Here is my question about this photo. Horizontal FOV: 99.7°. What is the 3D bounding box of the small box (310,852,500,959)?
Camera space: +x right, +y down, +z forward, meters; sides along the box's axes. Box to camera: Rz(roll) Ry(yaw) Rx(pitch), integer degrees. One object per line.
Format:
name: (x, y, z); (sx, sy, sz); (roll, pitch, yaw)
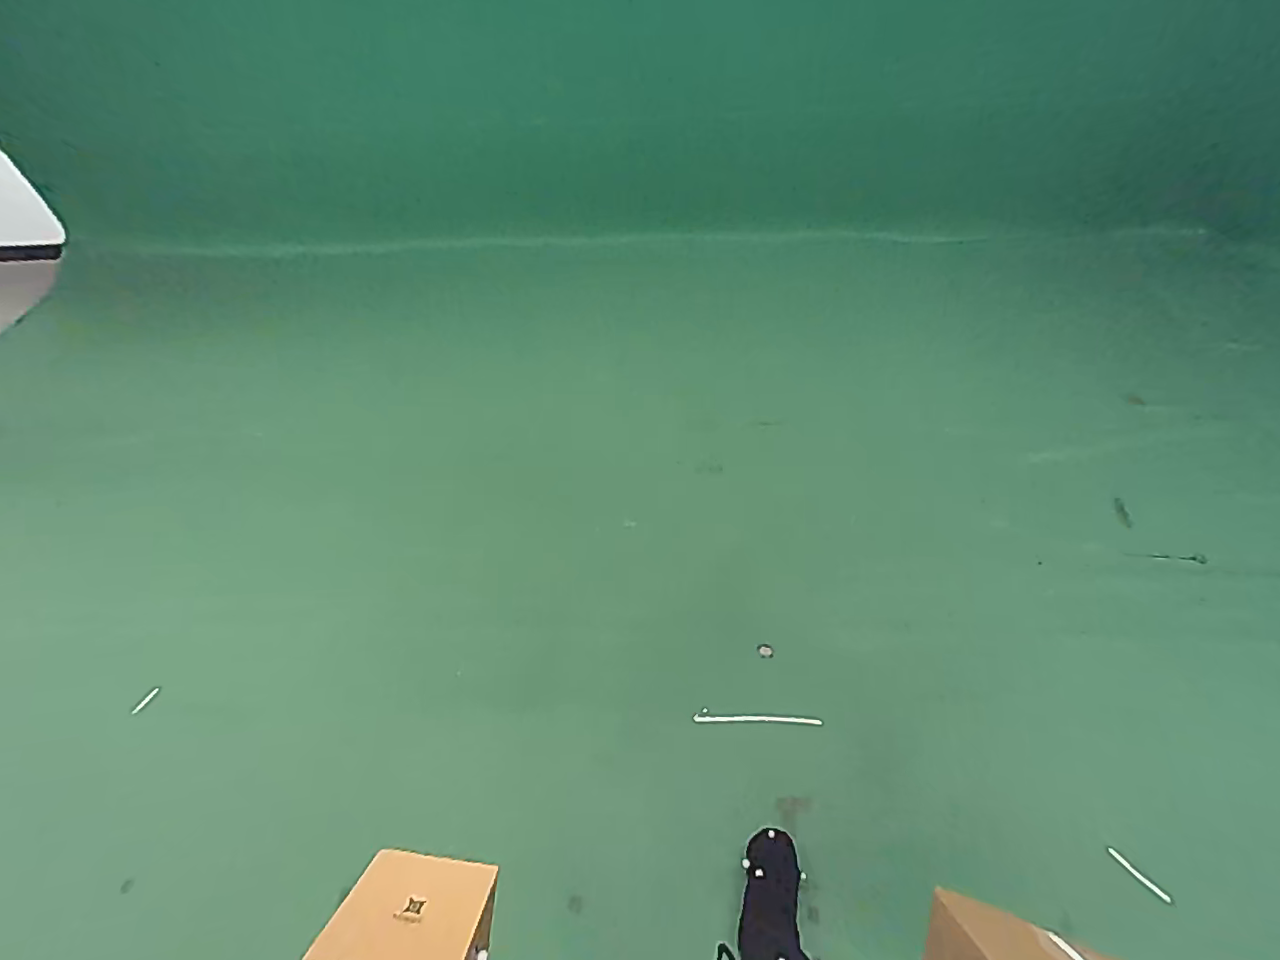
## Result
small box: (-0.284, 0.602, 0.655); (0.168, 0.179, 0.176); (8, 91, 1)
